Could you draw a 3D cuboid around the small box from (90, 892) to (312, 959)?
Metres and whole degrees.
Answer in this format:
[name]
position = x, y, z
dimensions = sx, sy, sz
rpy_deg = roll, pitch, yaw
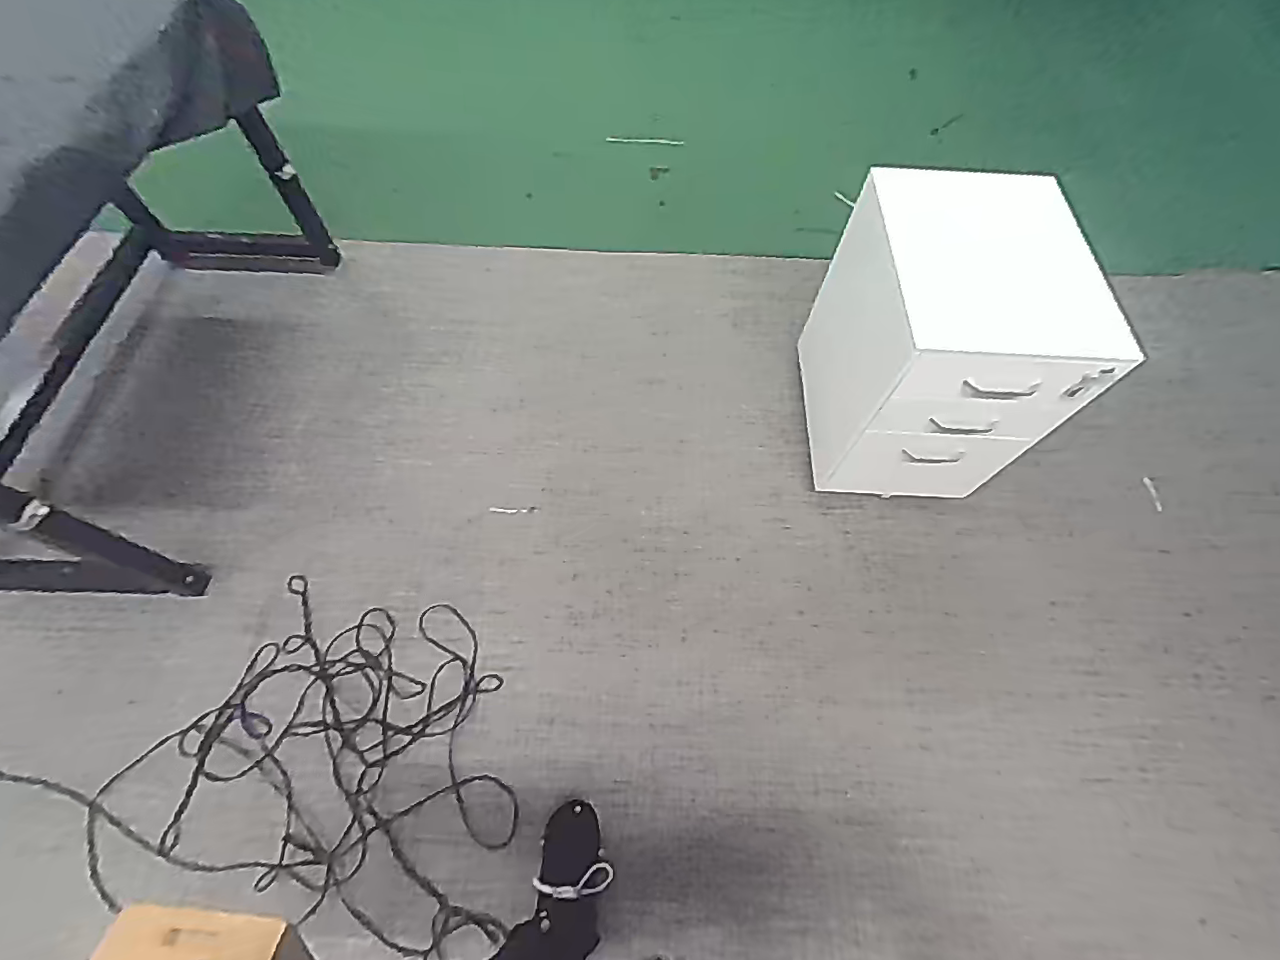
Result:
[small box]
position = -0.458, 0.550, 0.539
dimensions = 0.168, 0.179, 0.176
rpy_deg = 10, 33, -4
